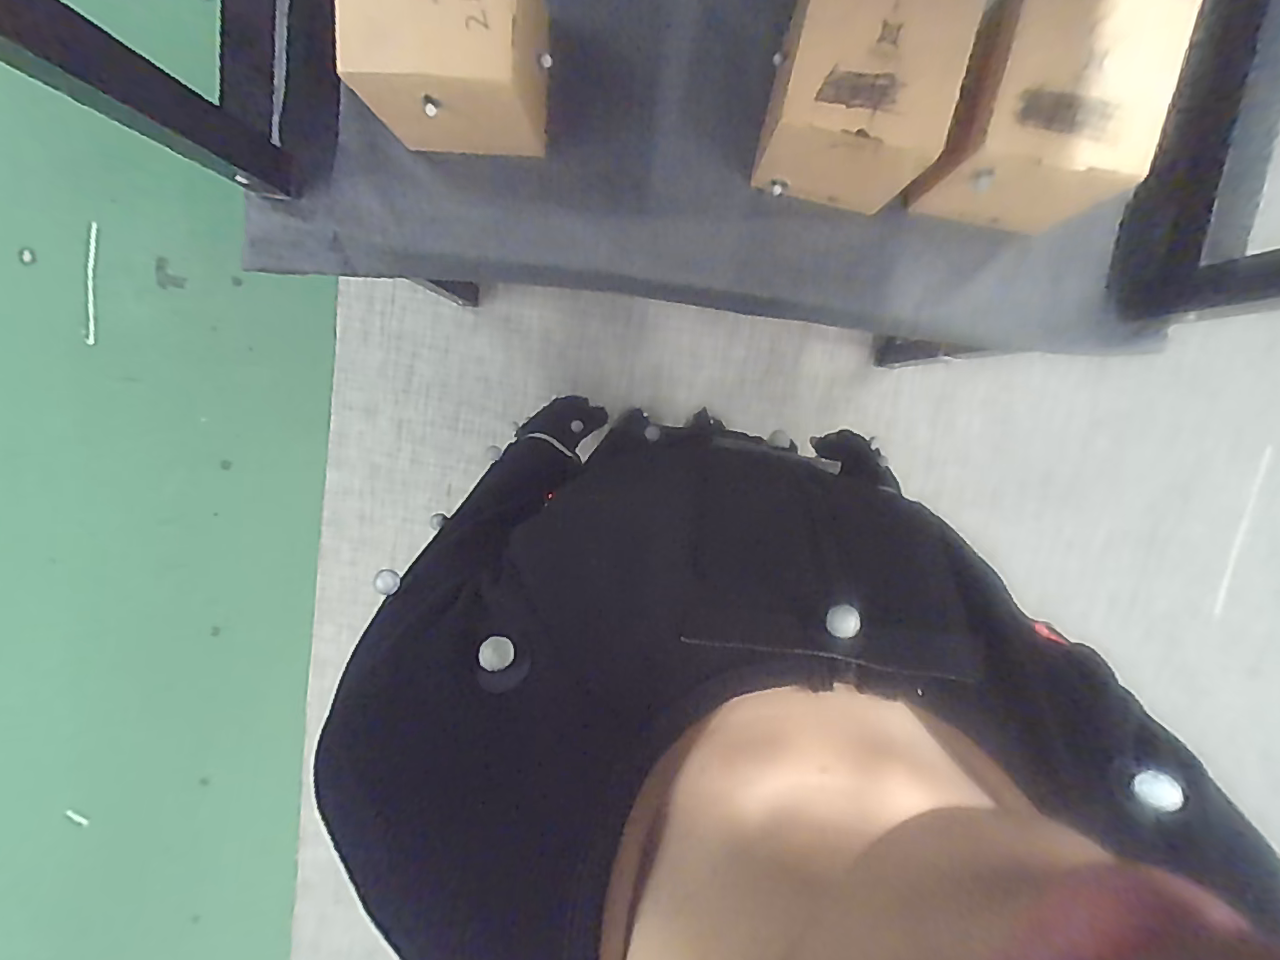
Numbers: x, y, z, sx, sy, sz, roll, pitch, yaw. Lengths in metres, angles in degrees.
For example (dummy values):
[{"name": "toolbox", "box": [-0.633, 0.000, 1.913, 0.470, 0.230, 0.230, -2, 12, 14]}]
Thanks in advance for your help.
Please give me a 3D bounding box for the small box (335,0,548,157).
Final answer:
[{"name": "small box", "box": [-0.208, -0.486, 0.603, 0.179, 0.176, 0.168, 4, 99, 0]}]
